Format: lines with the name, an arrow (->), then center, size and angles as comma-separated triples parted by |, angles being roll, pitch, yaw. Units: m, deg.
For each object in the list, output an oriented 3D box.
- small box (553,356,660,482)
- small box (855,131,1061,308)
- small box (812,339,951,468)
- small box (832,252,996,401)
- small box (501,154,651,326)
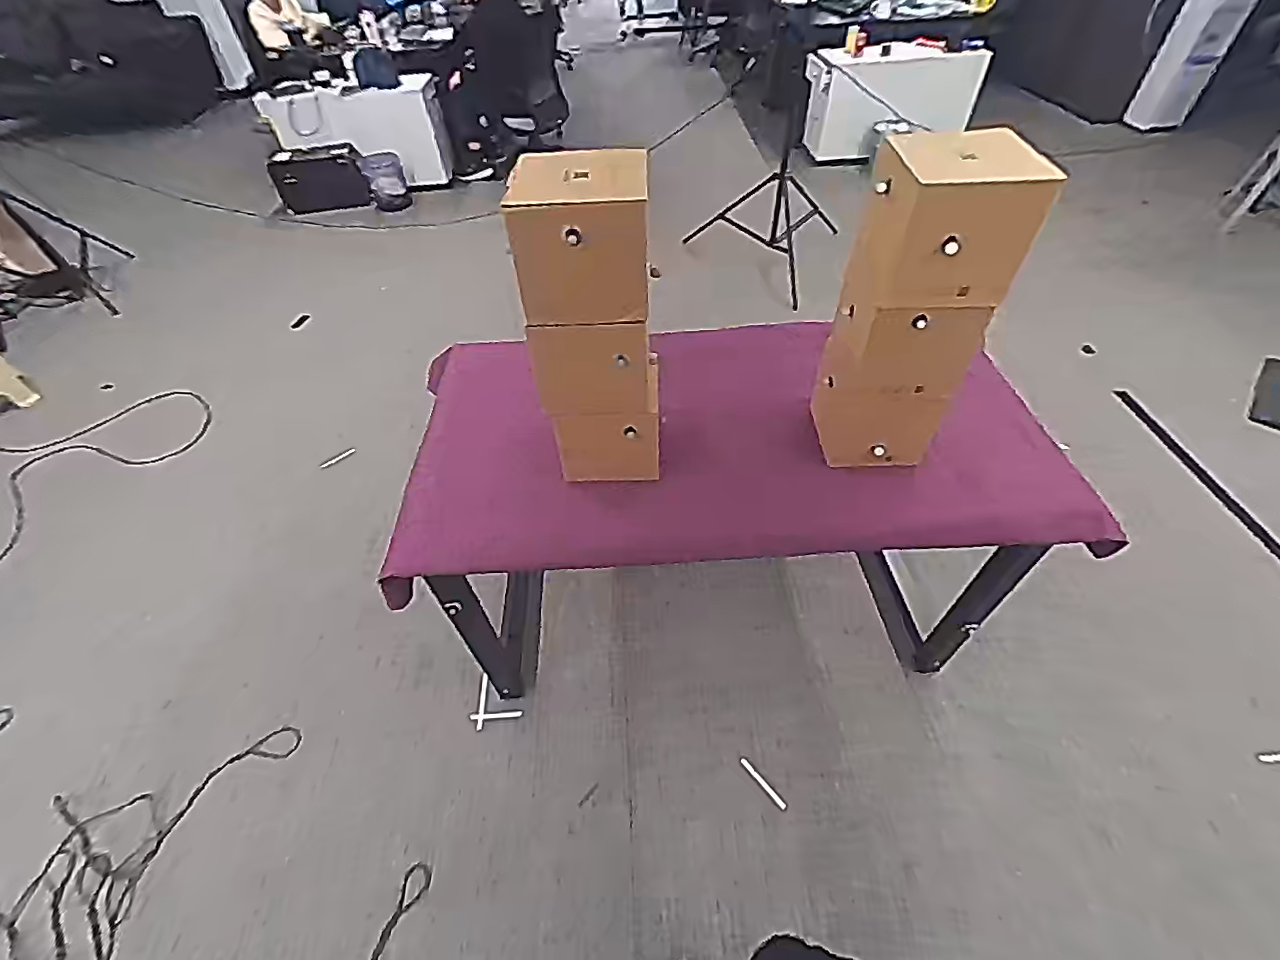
small box -> -0.051, -0.109, 0.989 | 0.179, 0.176, 0.168 | -1, 48, 3
small box -> 0.410, -0.349, 0.736 | 0.168, 0.176, 0.179 | -1, 48, 4
small box -> 0.425, -0.141, 0.988 | 0.168, 0.176, 0.179 | -2, 49, 2
small box -> 0.417, -0.246, 0.863 | 0.168, 0.176, 0.179 | 0, 48, 4
small box -> -0.076, -0.326, 0.747 | 0.179, 0.176, 0.168 | -1, 50, 1
